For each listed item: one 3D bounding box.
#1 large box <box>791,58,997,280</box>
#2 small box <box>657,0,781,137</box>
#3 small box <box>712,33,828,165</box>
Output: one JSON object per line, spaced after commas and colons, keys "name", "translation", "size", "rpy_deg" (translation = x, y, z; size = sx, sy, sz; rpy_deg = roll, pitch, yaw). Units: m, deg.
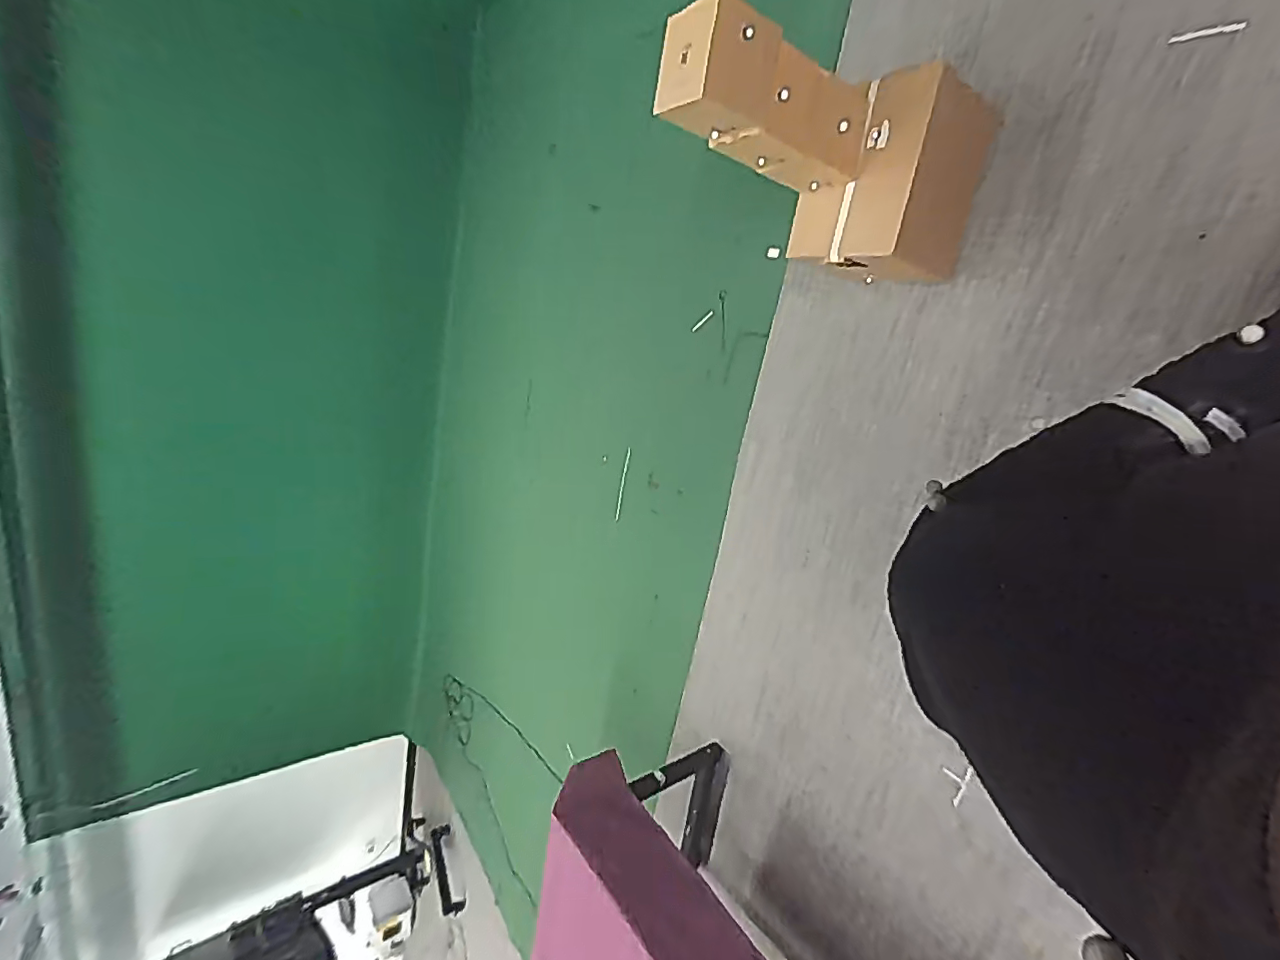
{"name": "large box", "translation": [0.650, -0.759, 1.406], "size": [0.320, 0.320, 0.408], "rpy_deg": [27, 111, 48]}
{"name": "small box", "translation": [0.162, -0.835, 1.100], "size": [0.168, 0.176, 0.179], "rpy_deg": [31, 116, 50]}
{"name": "small box", "translation": [0.290, -0.831, 1.202], "size": [0.168, 0.176, 0.179], "rpy_deg": [28, 113, 51]}
